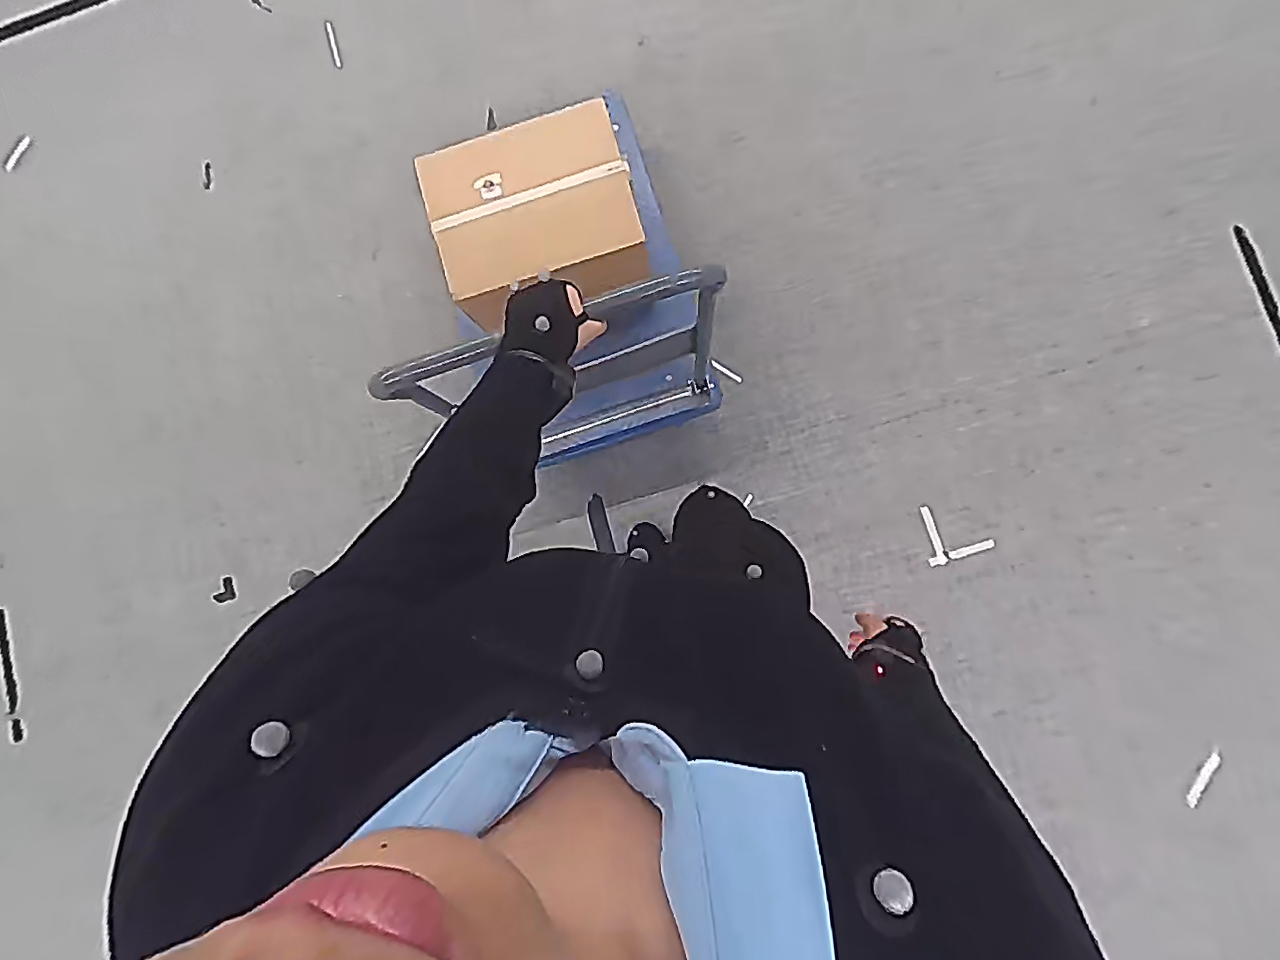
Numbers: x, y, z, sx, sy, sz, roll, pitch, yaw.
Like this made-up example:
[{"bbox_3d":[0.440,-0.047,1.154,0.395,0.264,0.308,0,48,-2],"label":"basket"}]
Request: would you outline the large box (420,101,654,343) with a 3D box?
[{"bbox_3d":[-0.209,-0.554,1.235,0.408,0.320,0.320,-17,85,4],"label":"large box"}]
